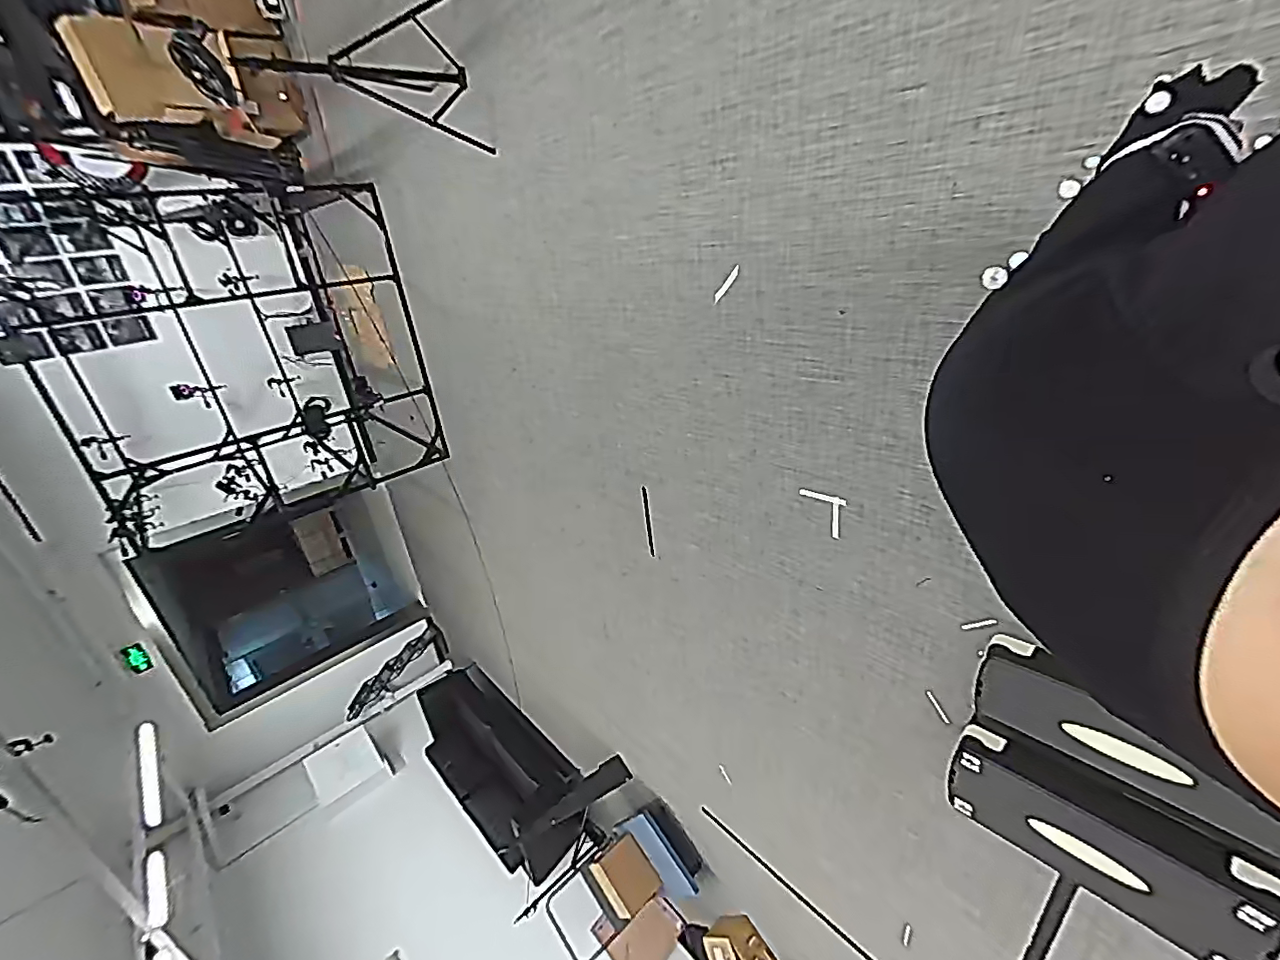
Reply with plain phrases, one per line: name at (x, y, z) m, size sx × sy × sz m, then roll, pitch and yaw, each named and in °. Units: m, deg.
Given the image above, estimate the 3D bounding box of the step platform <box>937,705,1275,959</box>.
step platform at (1.200, 0.931, 1.478) m, size 0.684 × 0.204 × 0.286 m, roll 20°, pitch 126°, yaw 46°
